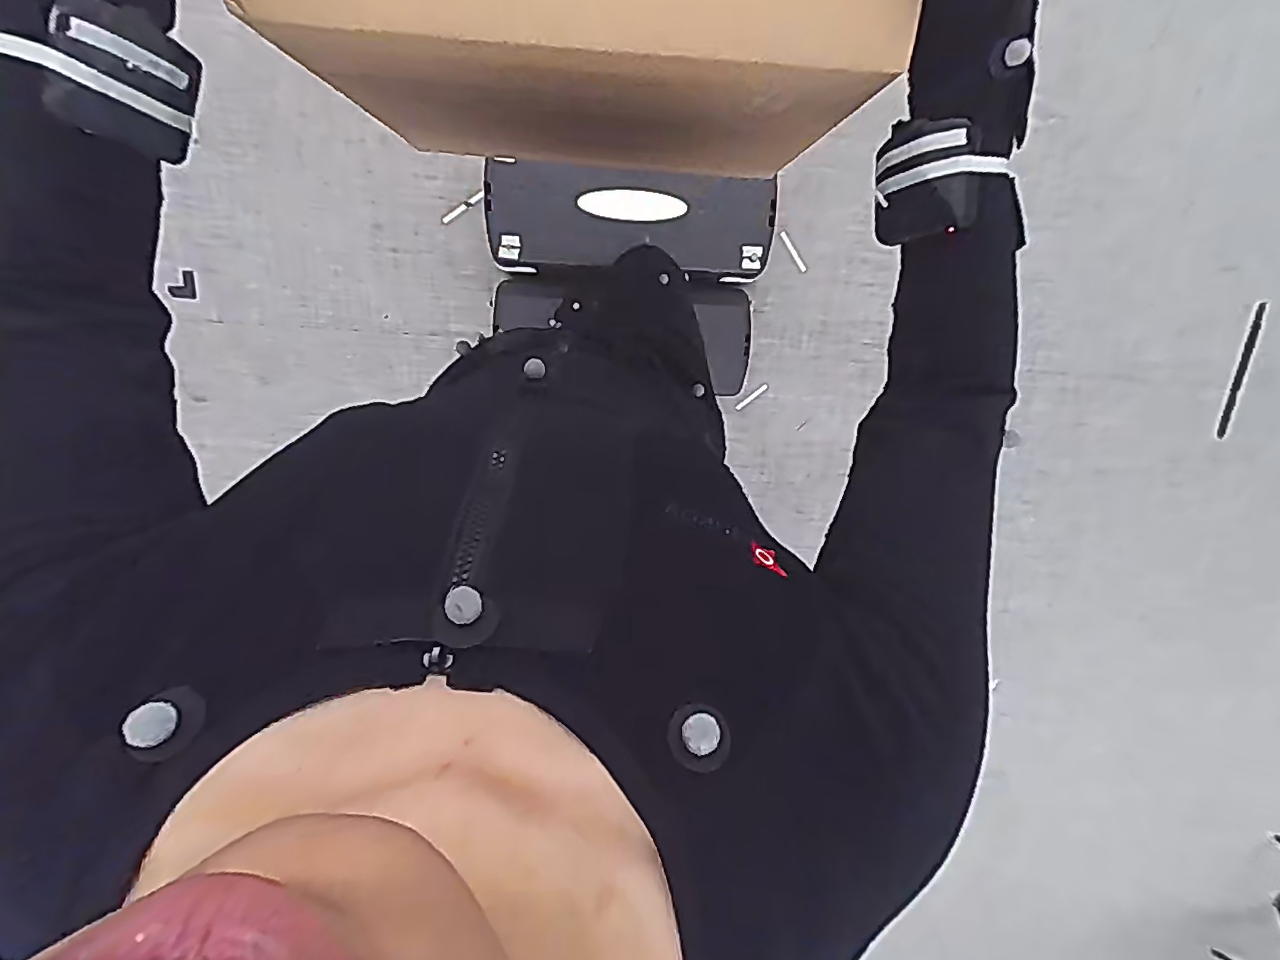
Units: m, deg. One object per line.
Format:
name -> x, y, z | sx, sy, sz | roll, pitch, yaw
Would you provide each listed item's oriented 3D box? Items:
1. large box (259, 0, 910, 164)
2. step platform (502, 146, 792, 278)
large box -> -0.033, -0.466, 0.426 | 0.408, 0.320, 0.320 | 2, 109, -4
step platform -> 0.015, -0.661, 1.317 | 0.684, 0.204, 0.286 | 1, 105, -4
